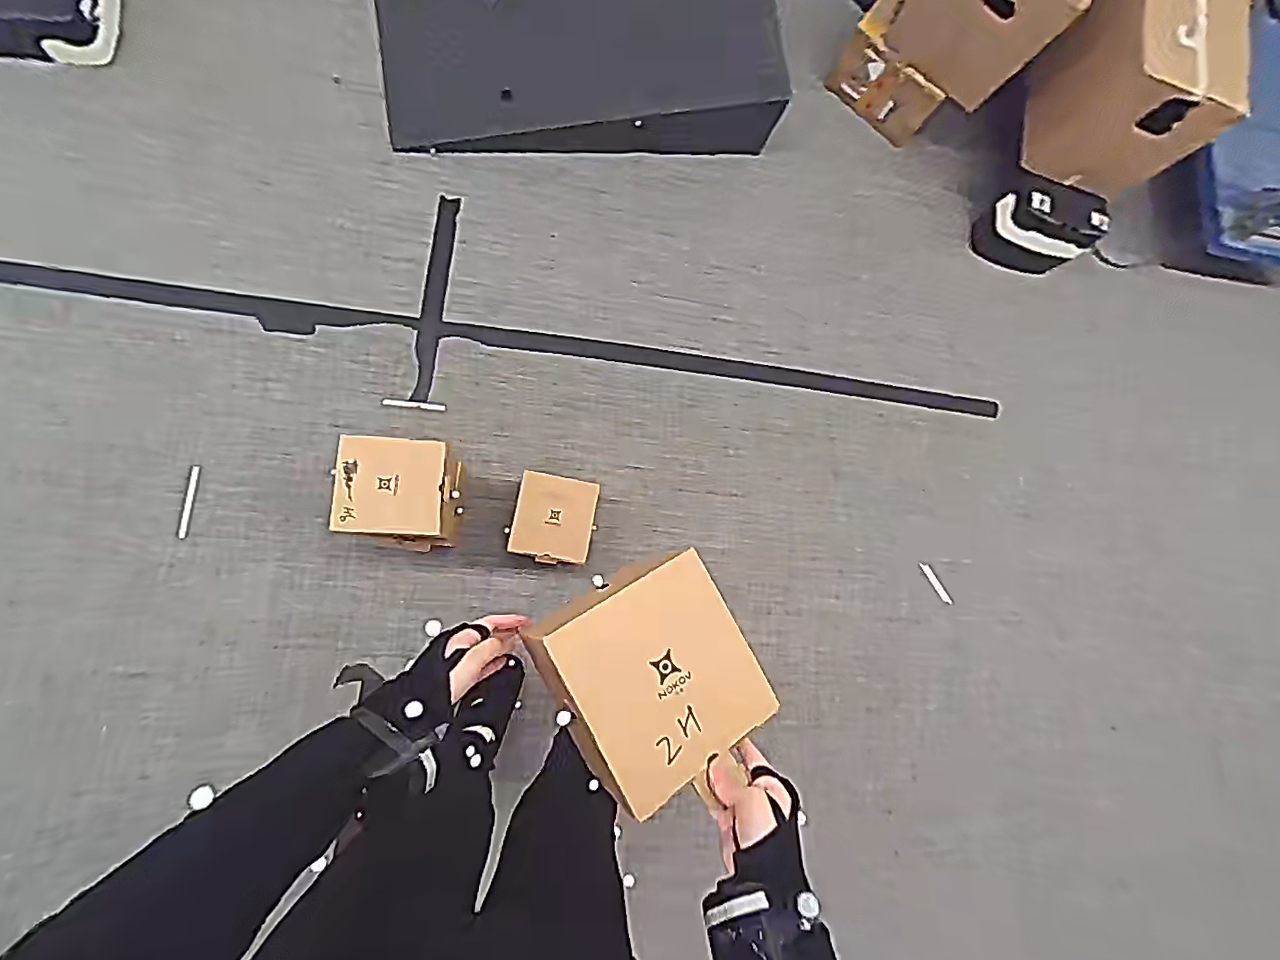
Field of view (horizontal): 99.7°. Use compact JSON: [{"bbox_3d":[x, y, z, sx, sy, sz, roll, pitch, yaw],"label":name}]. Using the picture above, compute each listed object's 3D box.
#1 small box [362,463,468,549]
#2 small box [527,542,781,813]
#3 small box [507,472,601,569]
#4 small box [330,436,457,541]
[{"bbox_3d":[-0.466,0.049,1.147,0.168,0.176,0.179,9,80,-11],"label":"small box"},{"bbox_3d":[0.000,0.186,0.552,0.168,0.176,0.179,-28,87,-23],"label":"small box"},{"bbox_3d":[-0.193,0.095,1.203,0.168,0.176,0.179,13,79,-11],"label":"small box"},{"bbox_3d":[-0.436,0.024,0.987,0.179,0.176,0.168,5,81,-13],"label":"small box"}]
